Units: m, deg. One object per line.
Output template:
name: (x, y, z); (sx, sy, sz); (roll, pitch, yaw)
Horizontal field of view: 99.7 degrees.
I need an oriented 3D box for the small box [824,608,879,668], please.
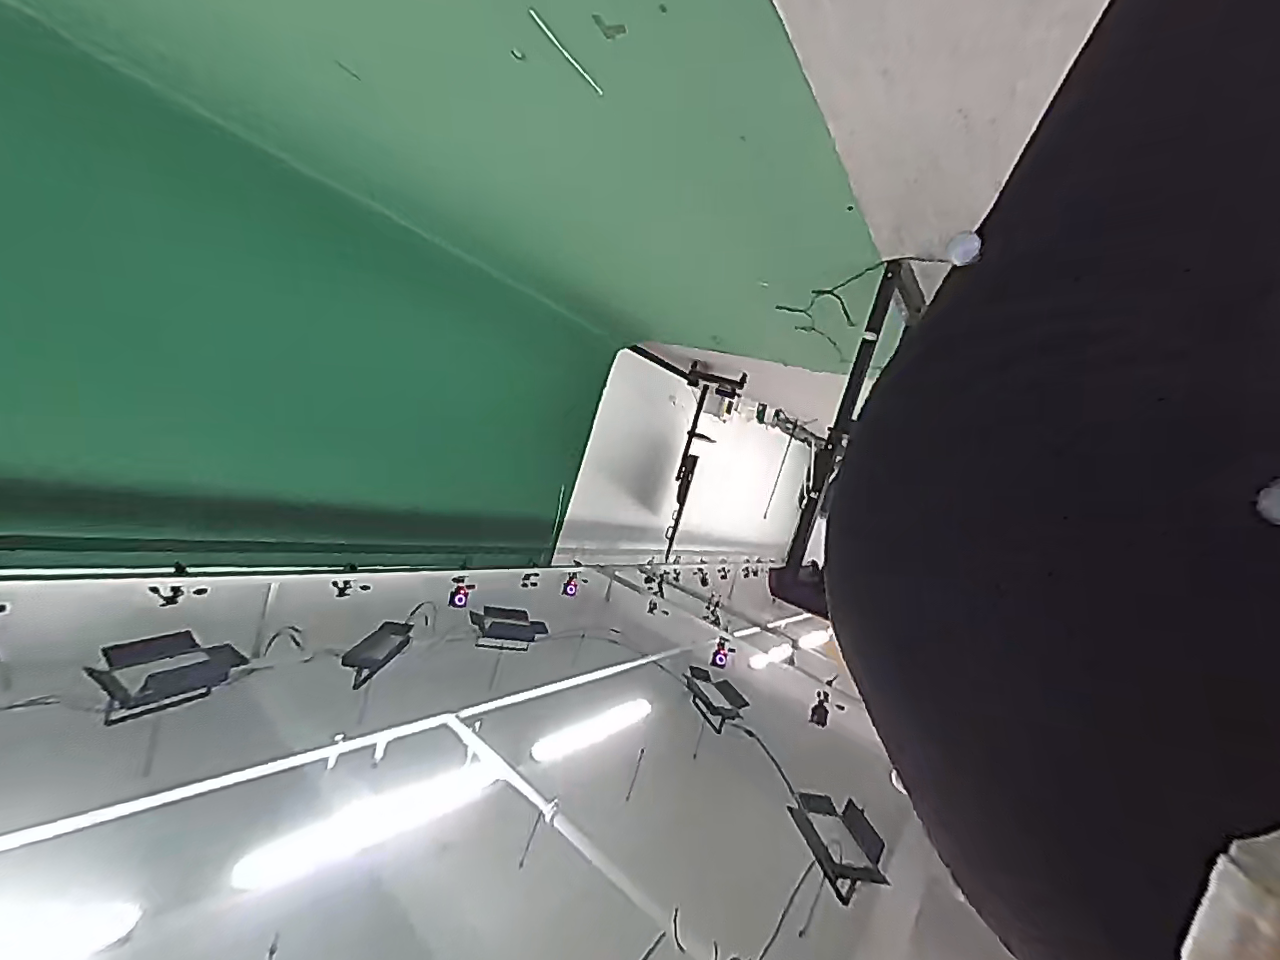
small box: (0.887, 0.652, 2.260); (0.168, 0.176, 0.179); (18, -174, 27)
